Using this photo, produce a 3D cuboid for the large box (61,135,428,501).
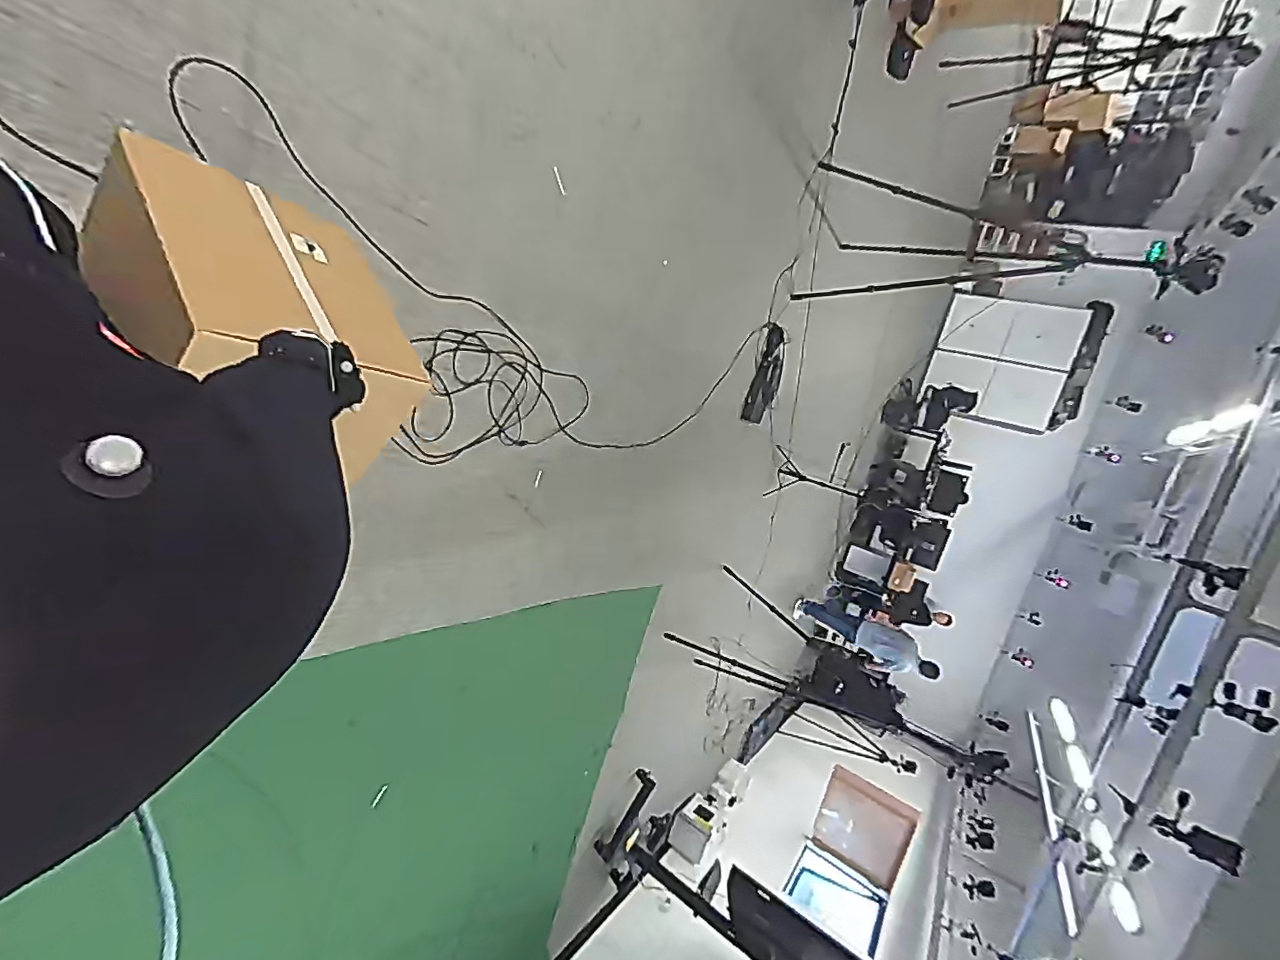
[{"bbox_3d":[-0.619,-0.215,0.849,0.320,0.408,0.320,-43,159,21],"label":"large box"}]
